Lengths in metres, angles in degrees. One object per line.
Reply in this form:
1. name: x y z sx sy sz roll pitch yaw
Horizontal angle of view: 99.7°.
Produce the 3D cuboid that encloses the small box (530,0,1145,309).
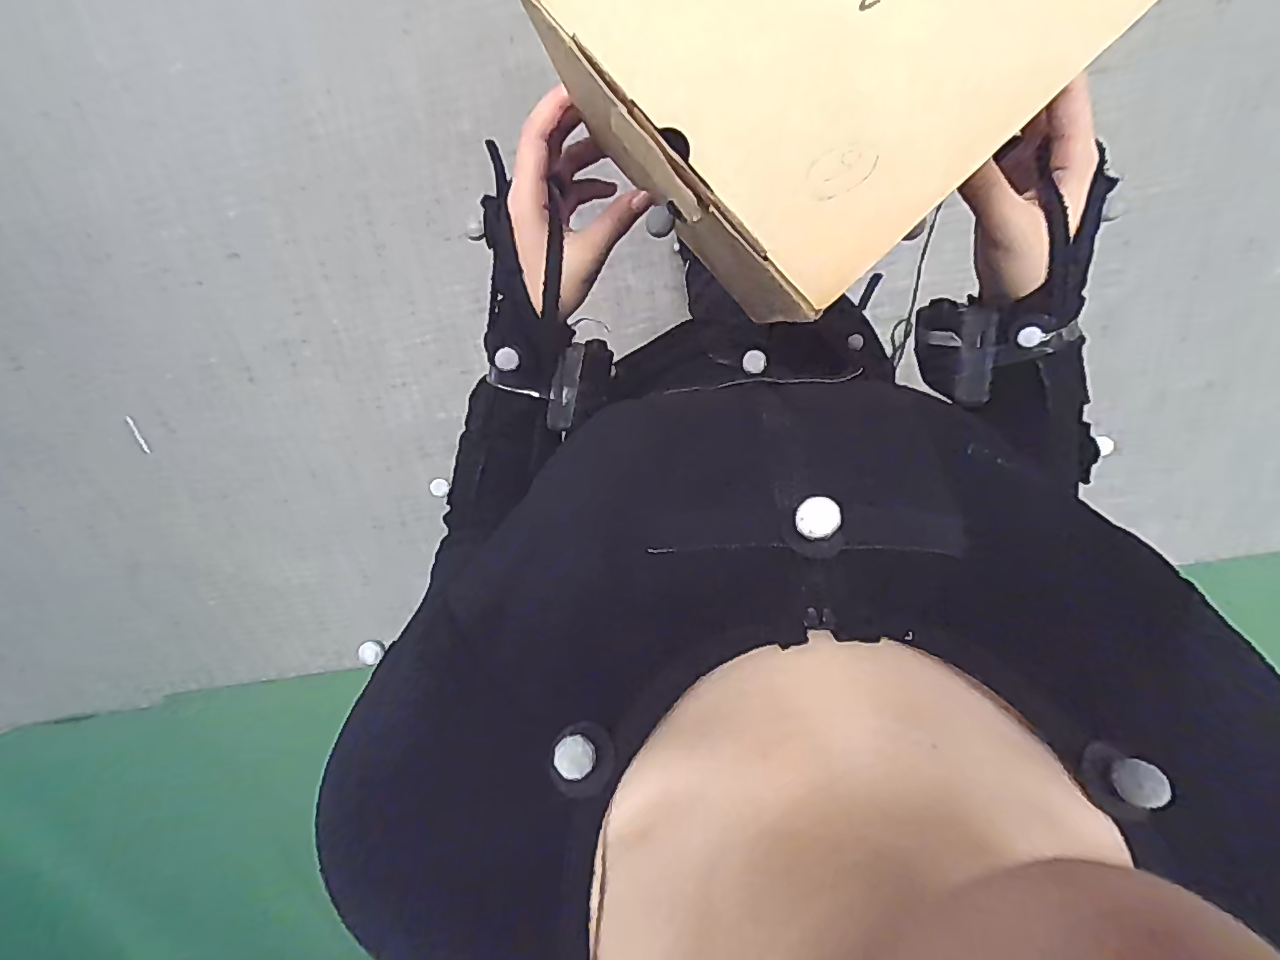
1. small box: 0.081 -0.203 0.268 0.168 0.176 0.179 44 105 -8
